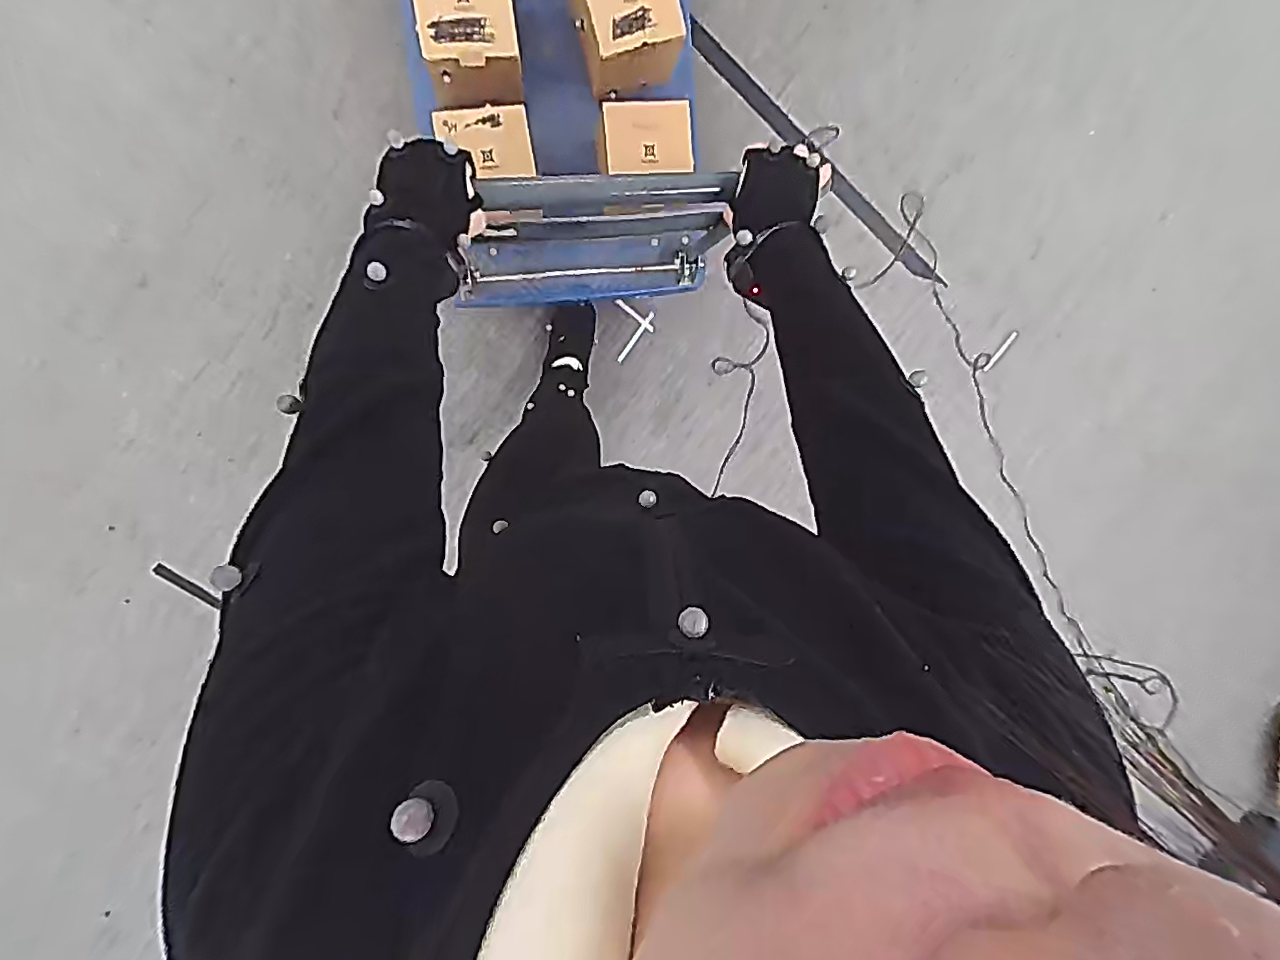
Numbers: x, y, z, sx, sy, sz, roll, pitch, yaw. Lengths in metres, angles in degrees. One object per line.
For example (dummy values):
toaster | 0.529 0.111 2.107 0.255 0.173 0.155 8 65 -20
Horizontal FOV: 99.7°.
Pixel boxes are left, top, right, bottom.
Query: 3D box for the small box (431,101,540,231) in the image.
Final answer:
small box | -0.288 -0.595 1.049 0.168 0.176 0.179 -11 103 -8

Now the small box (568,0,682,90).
small box | -0.033 -0.887 1.034 0.168 0.176 0.179 -19 103 -6

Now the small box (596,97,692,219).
small box | 0.004 -0.638 1.092 0.168 0.176 0.179 -6 102 -9
